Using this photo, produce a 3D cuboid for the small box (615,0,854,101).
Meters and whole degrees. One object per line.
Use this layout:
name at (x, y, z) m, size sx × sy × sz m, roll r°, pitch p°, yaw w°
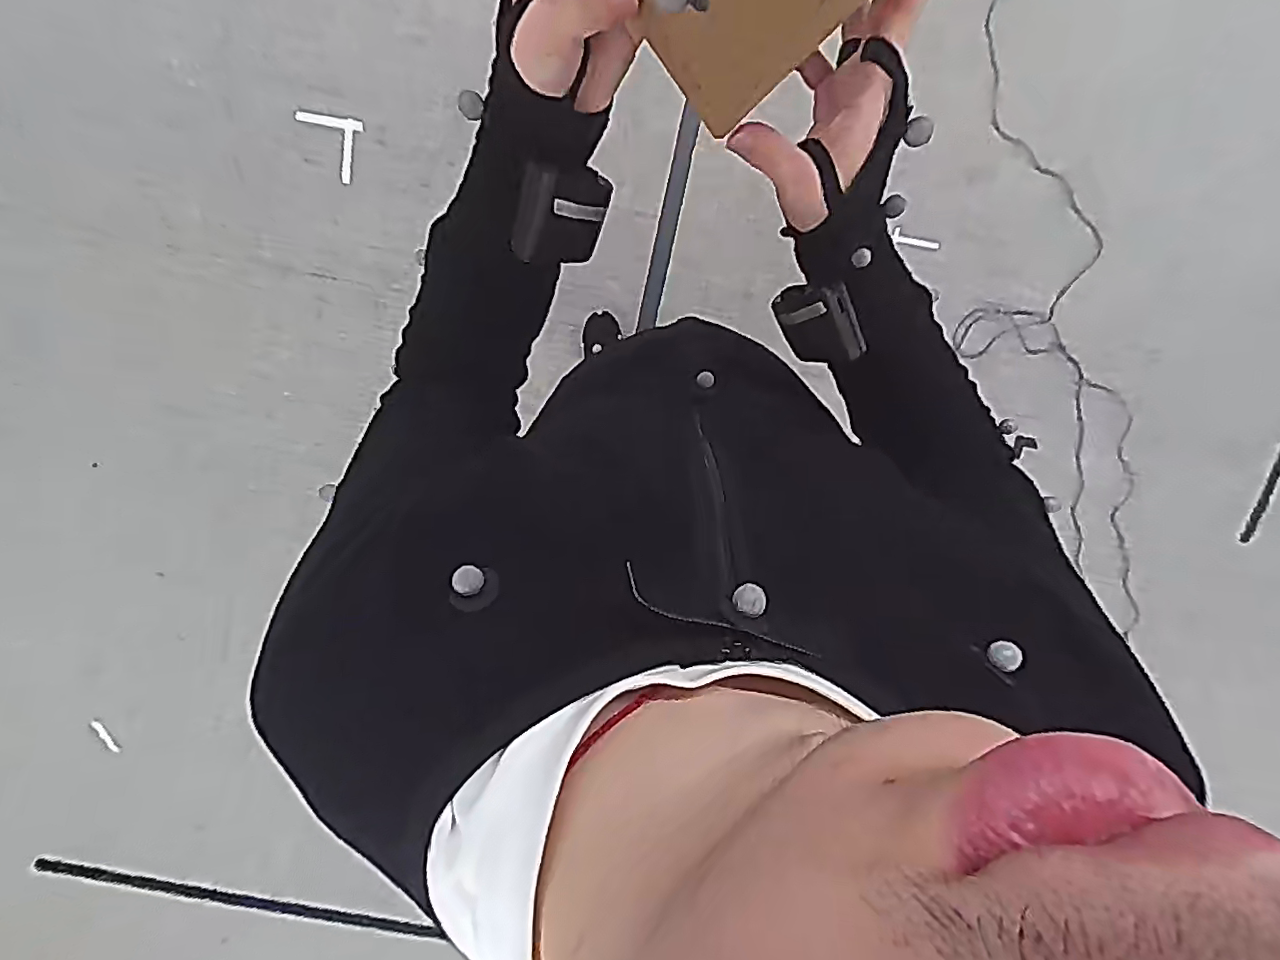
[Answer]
small box at (0.052, -0.275, 0.187) m, size 0.168 × 0.176 × 0.179 m, roll -41°, pitch 107°, yaw 9°
